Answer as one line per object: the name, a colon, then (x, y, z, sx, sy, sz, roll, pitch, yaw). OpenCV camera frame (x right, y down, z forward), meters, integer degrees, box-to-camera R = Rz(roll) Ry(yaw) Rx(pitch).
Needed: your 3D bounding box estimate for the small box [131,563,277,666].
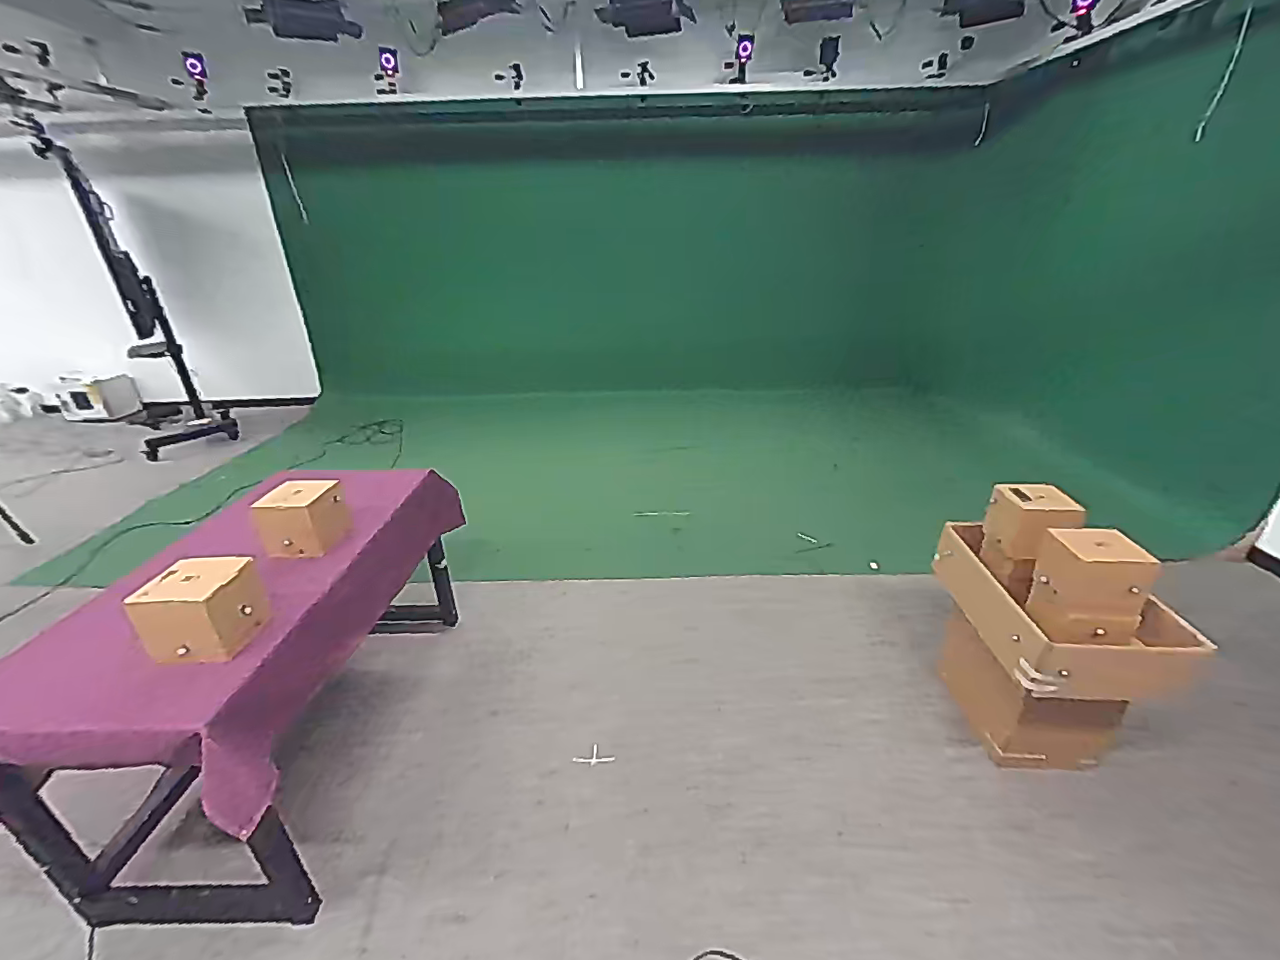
small box: (-0.980, 0.307, 1.236, 0.179, 0.176, 0.168, -1, 24, 2)

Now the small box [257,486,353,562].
small box: (-0.990, 0.130, 1.619, 0.168, 0.176, 0.179, -2, 25, 4)

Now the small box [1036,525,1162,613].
small box: (1.187, 0.233, 1.415, 0.179, 0.176, 0.168, 0, 24, 8)
